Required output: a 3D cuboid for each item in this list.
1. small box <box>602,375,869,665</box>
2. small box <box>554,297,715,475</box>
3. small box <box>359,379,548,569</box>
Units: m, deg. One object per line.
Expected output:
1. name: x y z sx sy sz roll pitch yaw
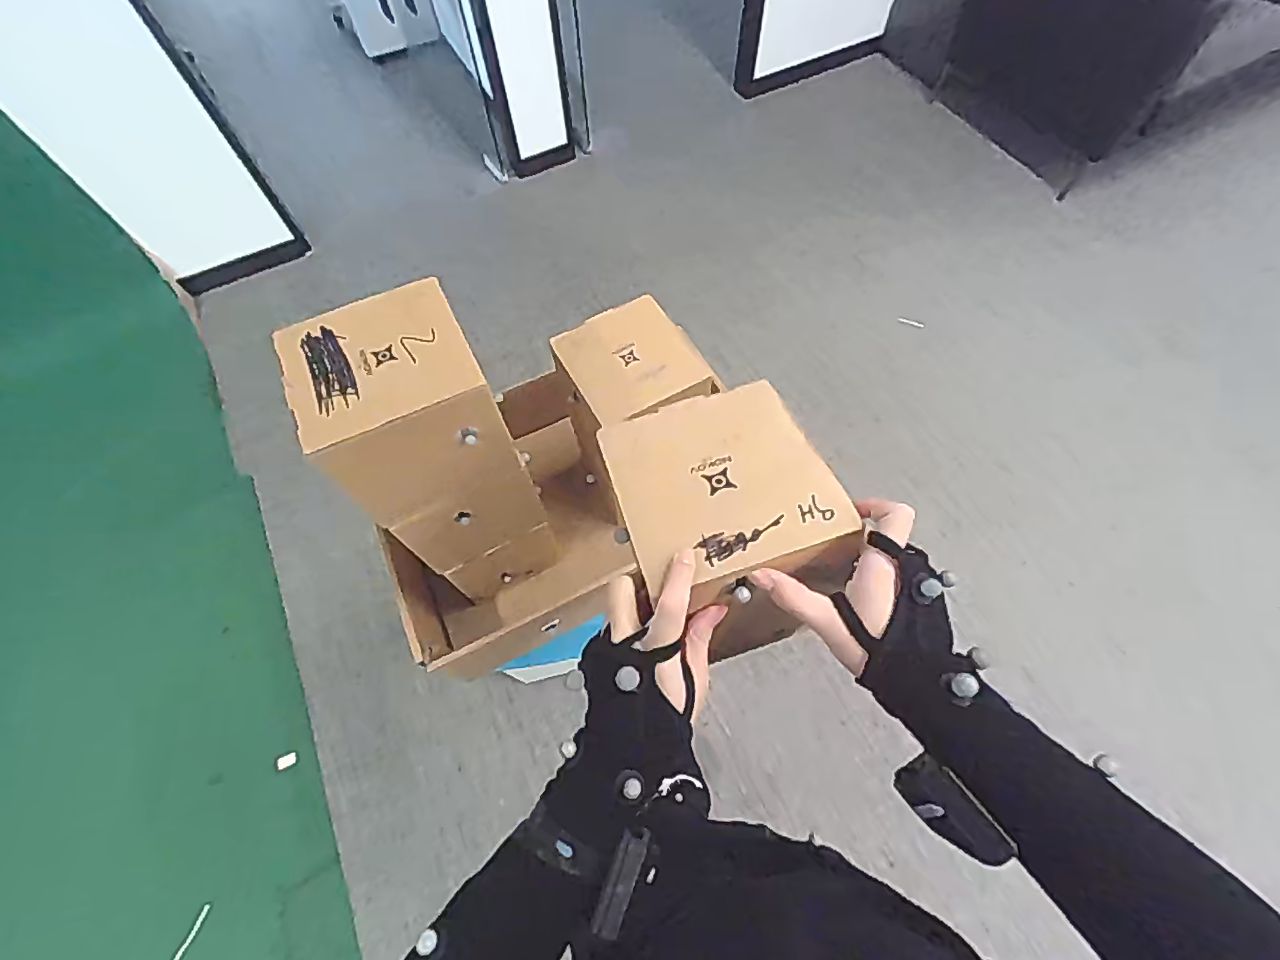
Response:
1. small box: 0.075 0.039 0.494 0.168 0.176 0.179 -18 52 -3
2. small box: -0.007 -0.128 0.803 0.168 0.176 0.179 -27 65 -10
3. small box: -0.247 -0.001 0.747 0.179 0.176 0.168 -26 65 -12
